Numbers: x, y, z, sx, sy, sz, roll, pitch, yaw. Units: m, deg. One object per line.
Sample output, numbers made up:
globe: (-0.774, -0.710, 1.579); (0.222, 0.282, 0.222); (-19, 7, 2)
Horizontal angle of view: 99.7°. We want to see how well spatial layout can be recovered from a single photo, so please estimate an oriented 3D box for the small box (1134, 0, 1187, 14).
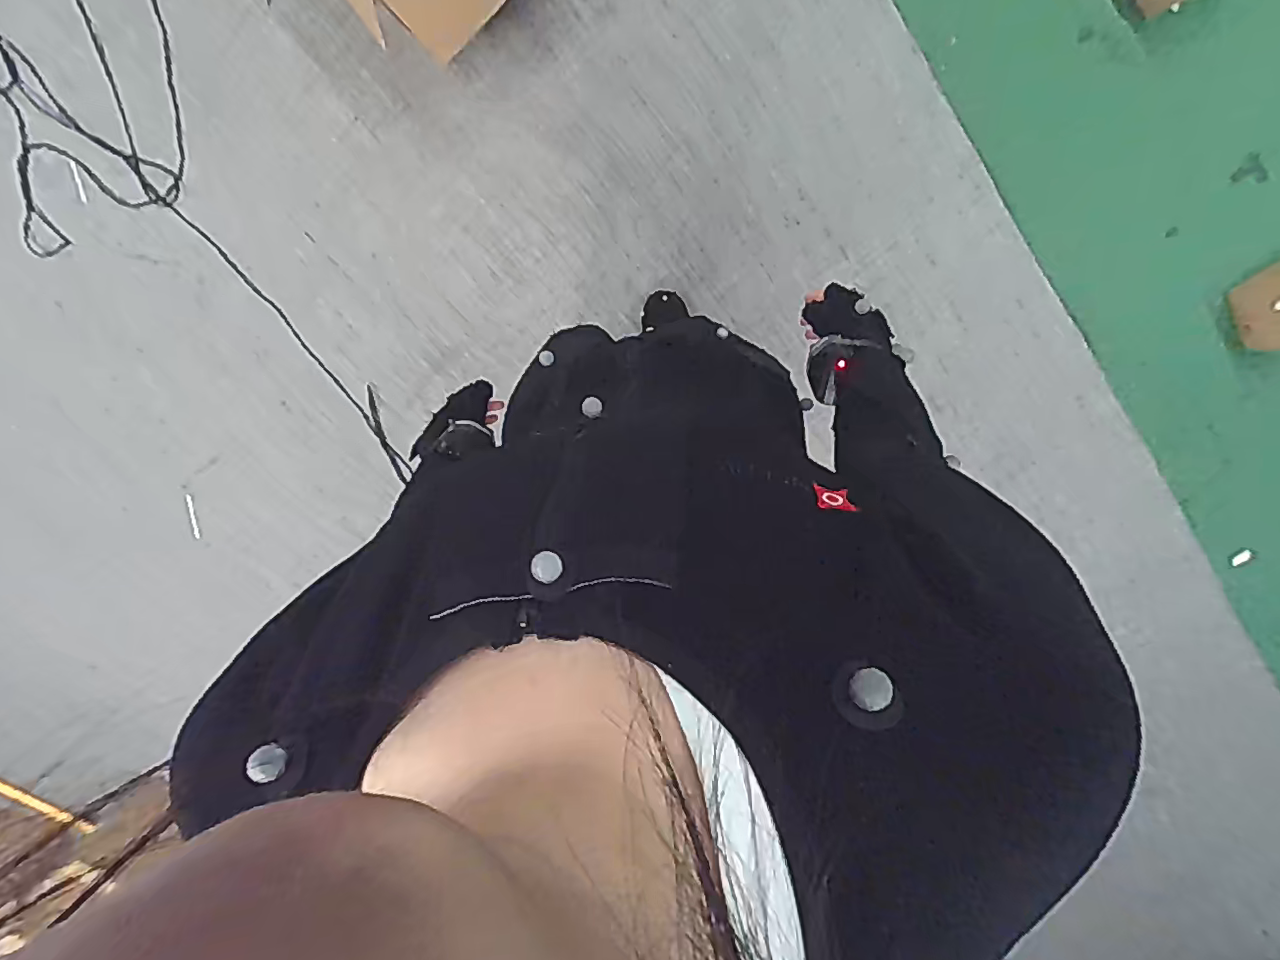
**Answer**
small box: (1.072, -1.049, 1.032); (0.168, 0.176, 0.179); (-40, 103, 14)
